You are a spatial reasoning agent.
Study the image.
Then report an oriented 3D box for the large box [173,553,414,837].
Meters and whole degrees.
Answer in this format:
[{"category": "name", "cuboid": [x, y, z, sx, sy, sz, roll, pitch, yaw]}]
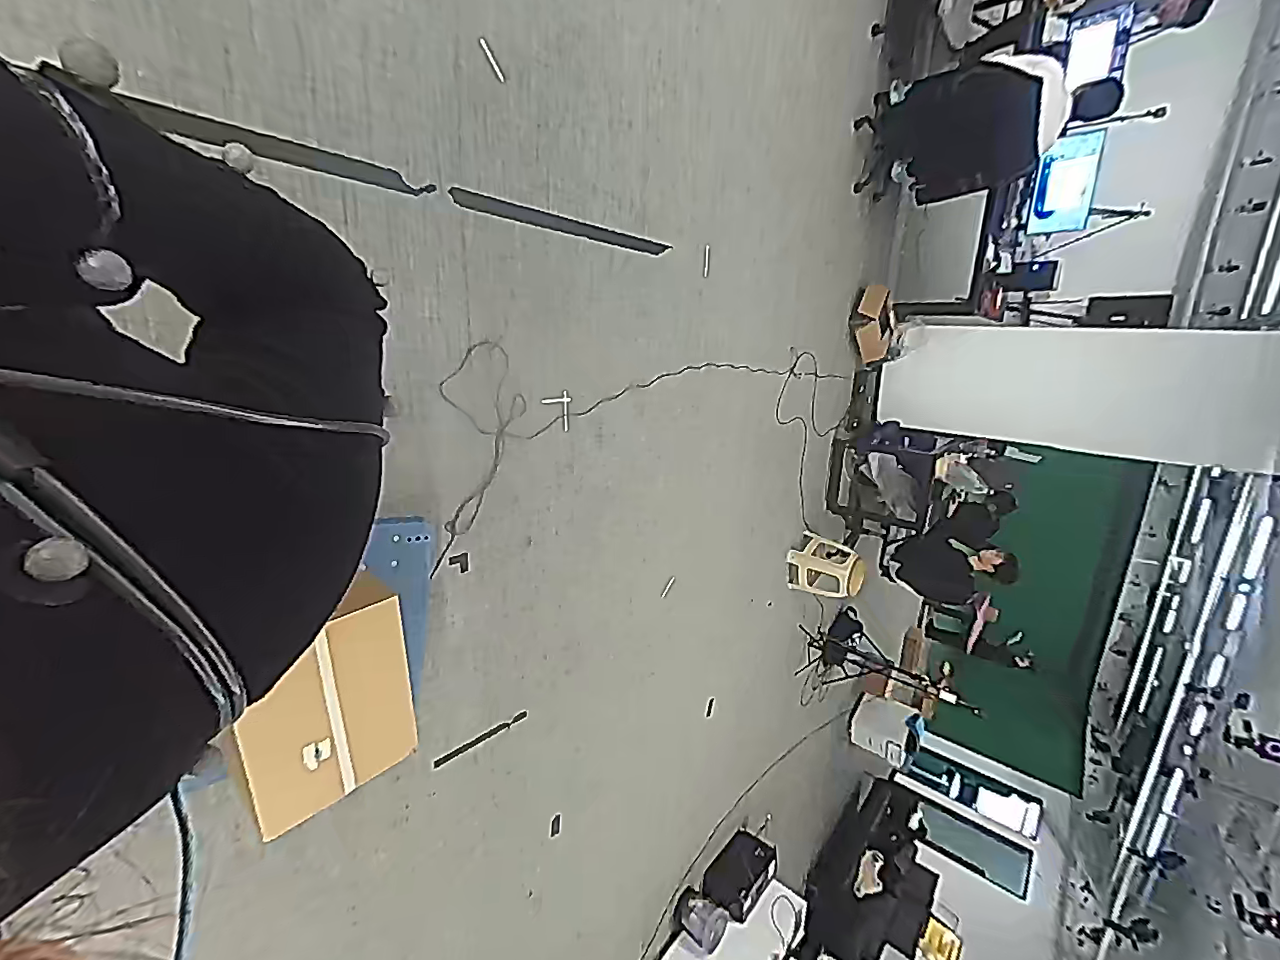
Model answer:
[{"category": "large box", "cuboid": [-0.727, 0.423, 1.158, 0.320, 0.320, 0.408, -18, 116, -46]}]
